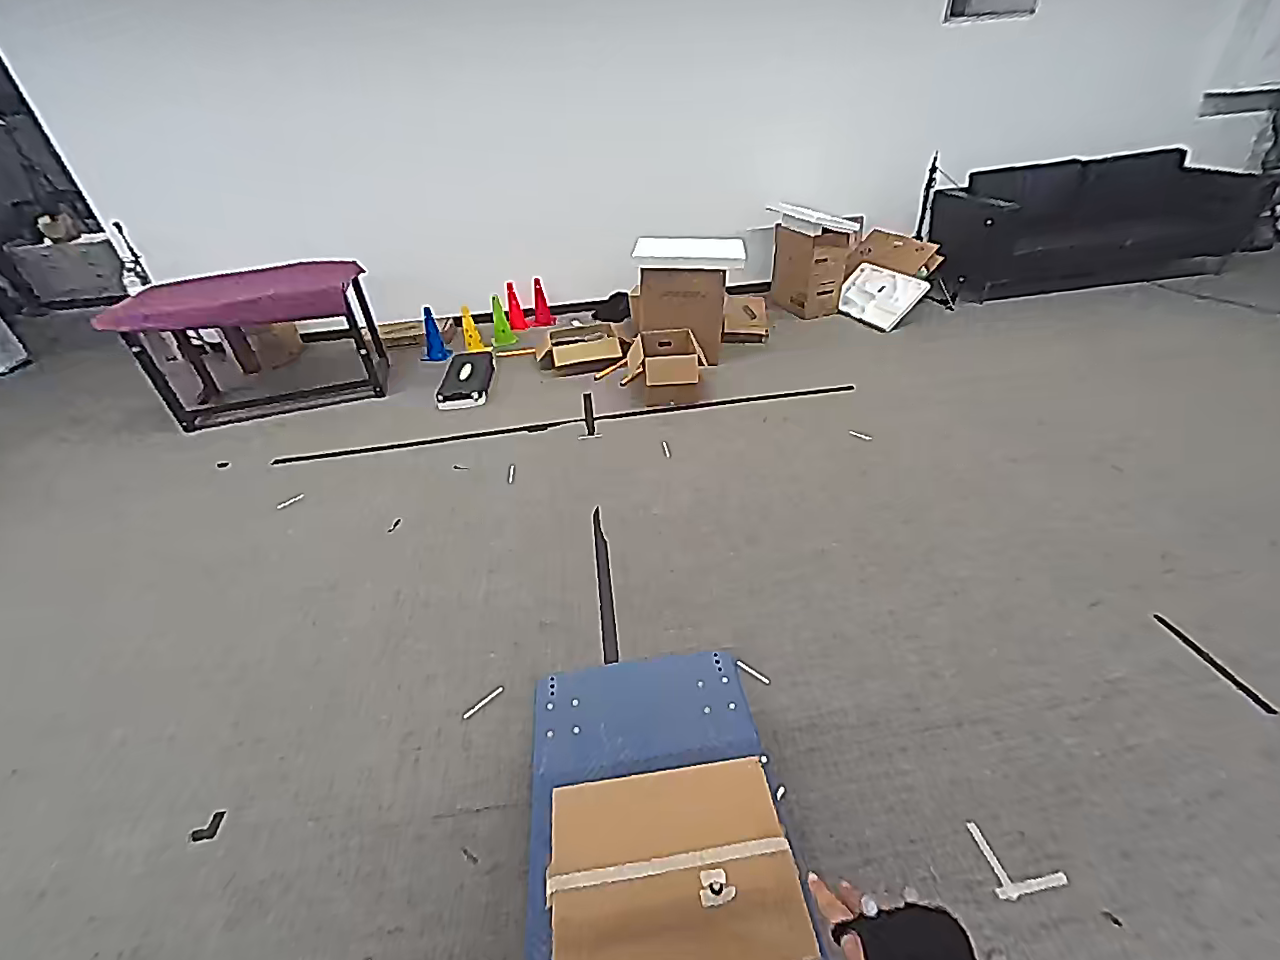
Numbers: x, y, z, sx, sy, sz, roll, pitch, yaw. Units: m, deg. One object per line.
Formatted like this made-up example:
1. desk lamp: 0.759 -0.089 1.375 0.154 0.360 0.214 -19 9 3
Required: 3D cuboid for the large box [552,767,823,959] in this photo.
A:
1. large box: 0.061 0.778 0.973 0.408 0.320 0.320 -7 36 -5
